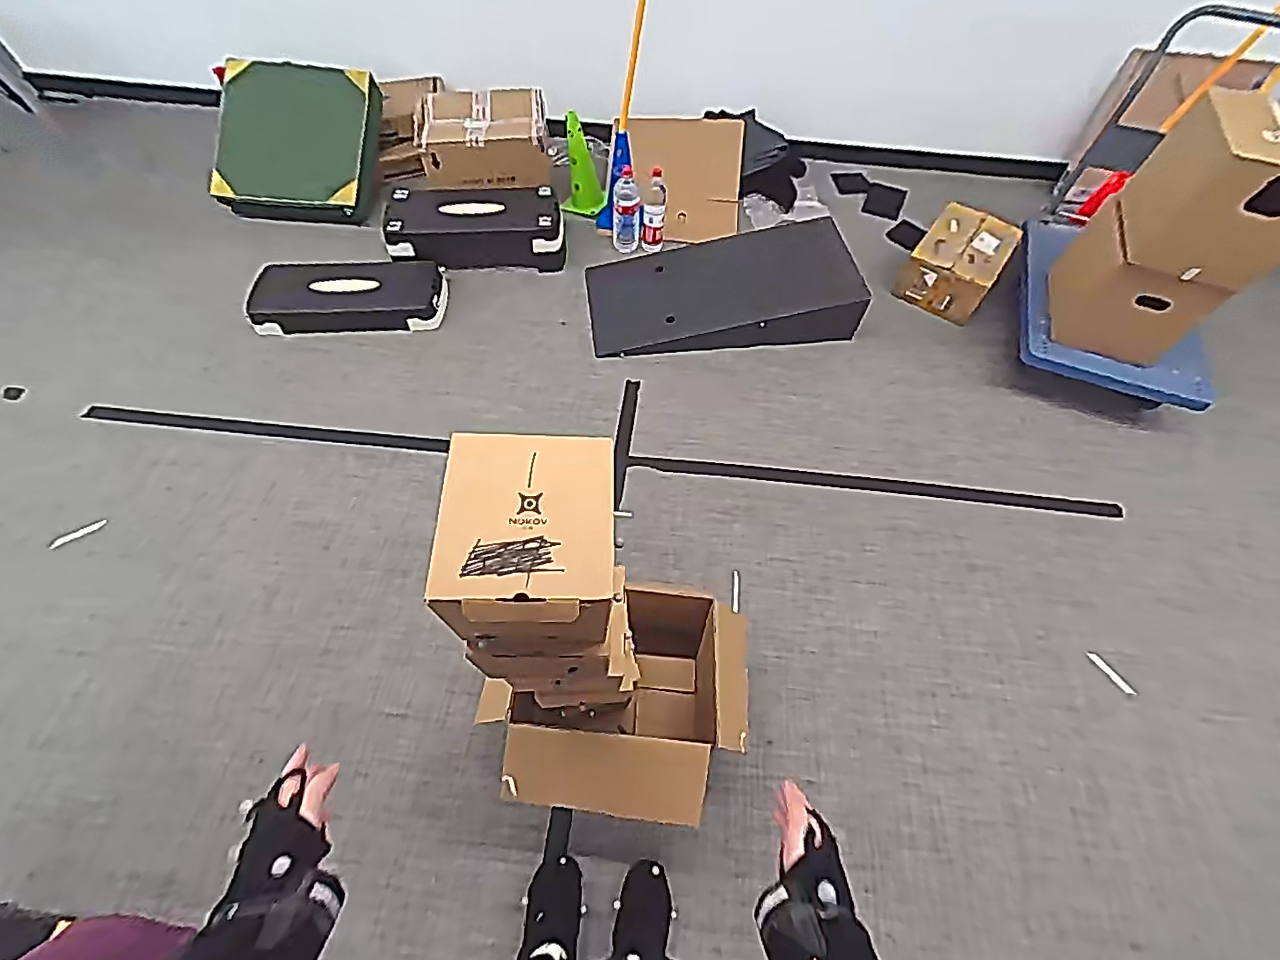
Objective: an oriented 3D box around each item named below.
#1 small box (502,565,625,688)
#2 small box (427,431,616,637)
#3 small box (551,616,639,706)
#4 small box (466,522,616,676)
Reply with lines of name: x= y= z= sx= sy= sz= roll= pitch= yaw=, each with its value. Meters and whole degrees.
small box: x=-0.115 y=0.238 z=0.865 sx=0.179 sy=0.176 sz=0.168 roll=2 pitch=63 yaw=-4
small box: x=-0.113 y=0.067 z=0.585 sx=0.168 sy=0.176 sz=0.179 roll=2 pitch=62 yaw=-5
small box: x=-0.109 y=0.376 z=1.165 sx=0.179 sy=0.176 sz=0.168 roll=-10 pitch=63 yaw=-12
small box: x=-0.120 y=0.160 z=0.721 sx=0.168 sy=0.176 sz=0.179 roll=3 pitch=62 yaw=-4
